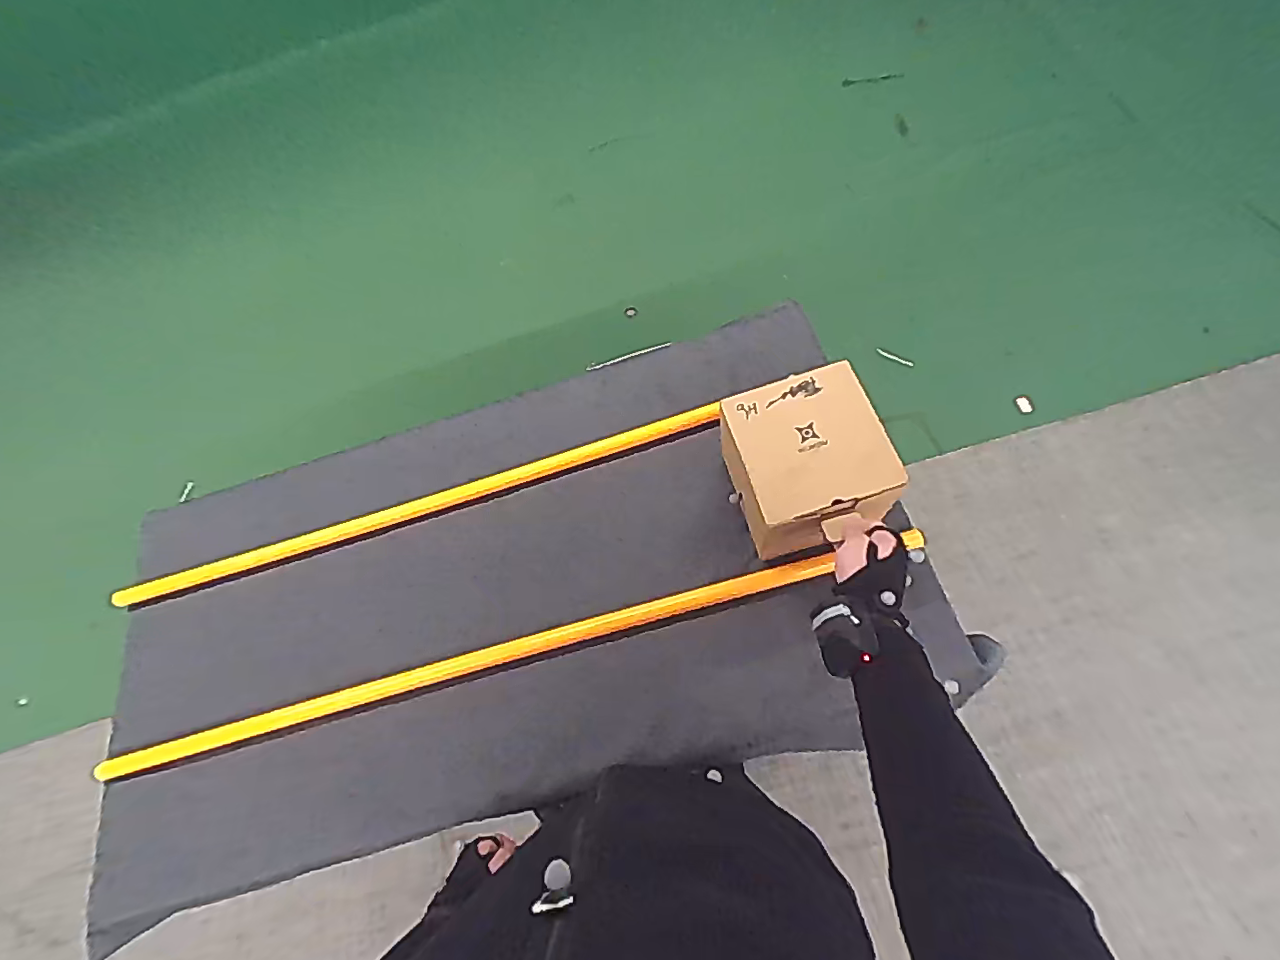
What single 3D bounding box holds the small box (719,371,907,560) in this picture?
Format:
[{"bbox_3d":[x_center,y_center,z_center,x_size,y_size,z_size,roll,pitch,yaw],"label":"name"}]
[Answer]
[{"bbox_3d":[0.215,-0.005,0.712,0.168,0.176,0.179,-21,66,4],"label":"small box"}]
